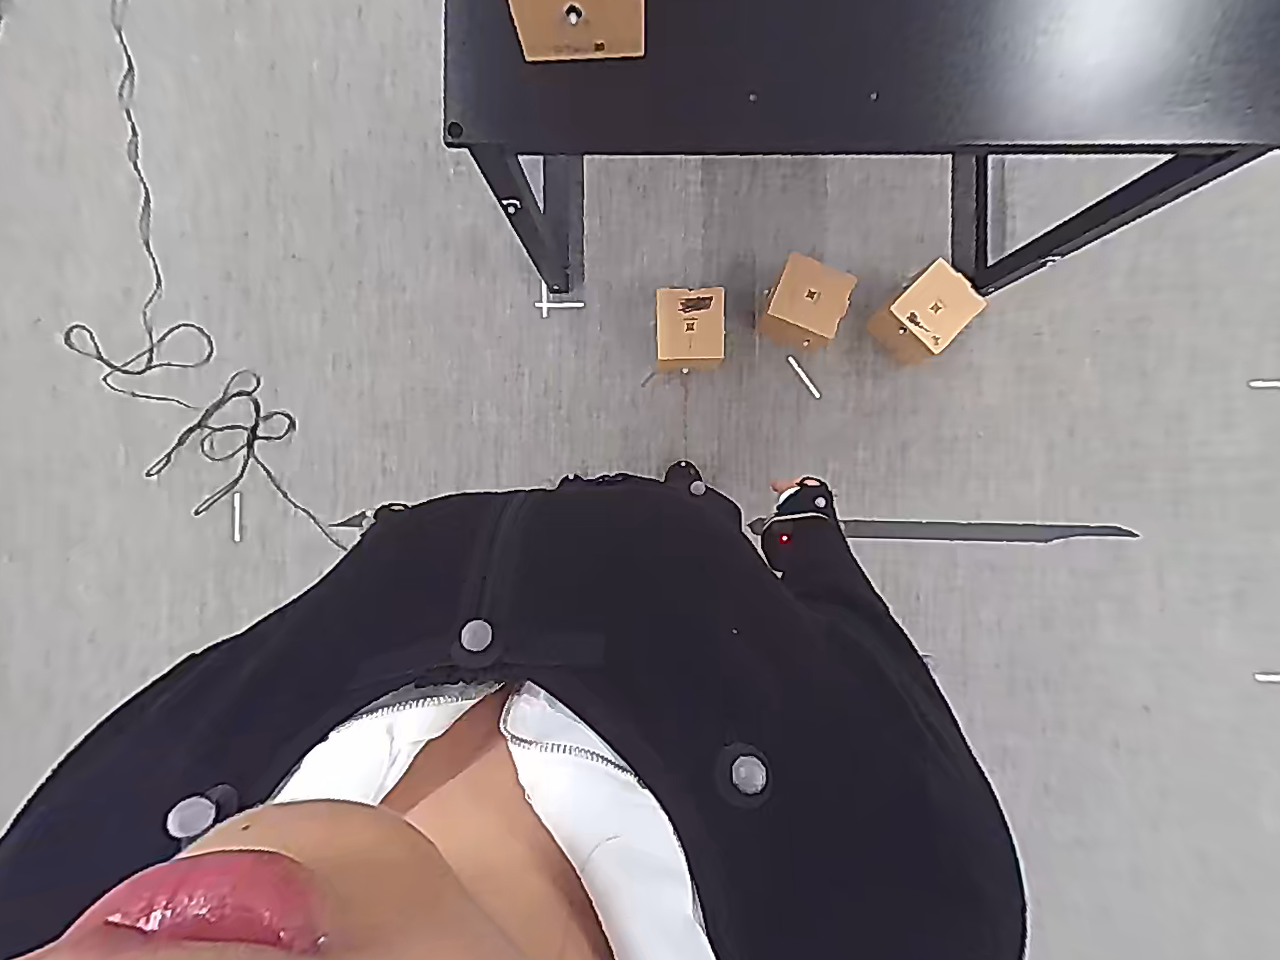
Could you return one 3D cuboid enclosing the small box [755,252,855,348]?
[{"bbox_3d":[0.419,-0.454,1.398,0.179,0.176,0.168,22,91,1],"label":"small box"}]

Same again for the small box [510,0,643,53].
[{"bbox_3d":[-0.080,-0.670,0.668,0.168,0.176,0.179,-2,91,0],"label":"small box"}]

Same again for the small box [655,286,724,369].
[{"bbox_3d":[0.124,-0.391,1.405,0.168,0.176,0.179,0,93,1],"label":"small box"}]

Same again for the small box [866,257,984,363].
[{"bbox_3d":[0.721,-0.428,1.391,0.168,0.176,0.179,44,92,0],"label":"small box"}]
